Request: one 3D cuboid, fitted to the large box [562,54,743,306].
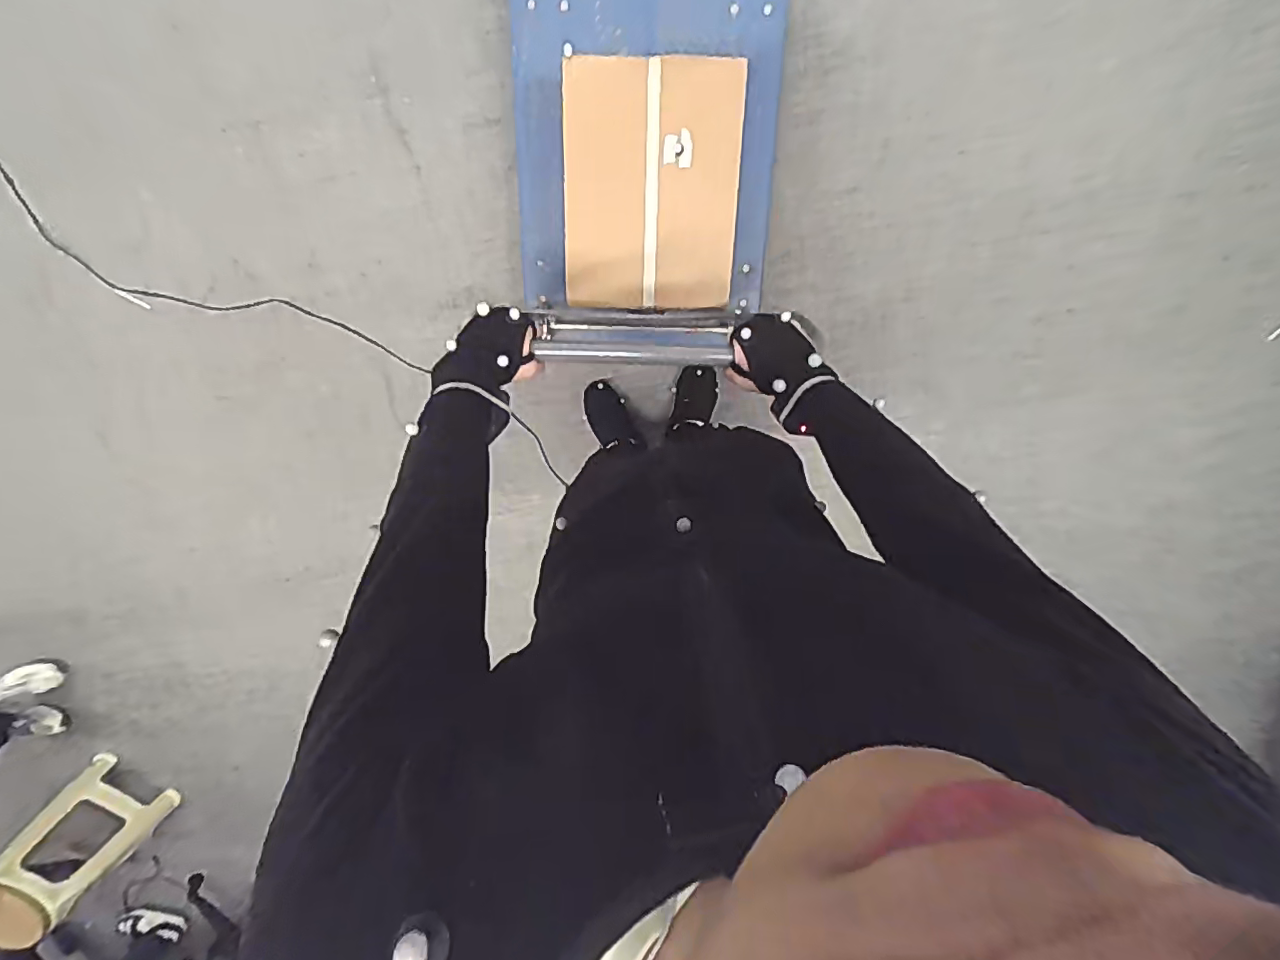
[{"bbox_3d":[0.022,-0.570,1.110,0.320,0.320,0.408,2,109,0],"label":"large box"}]
